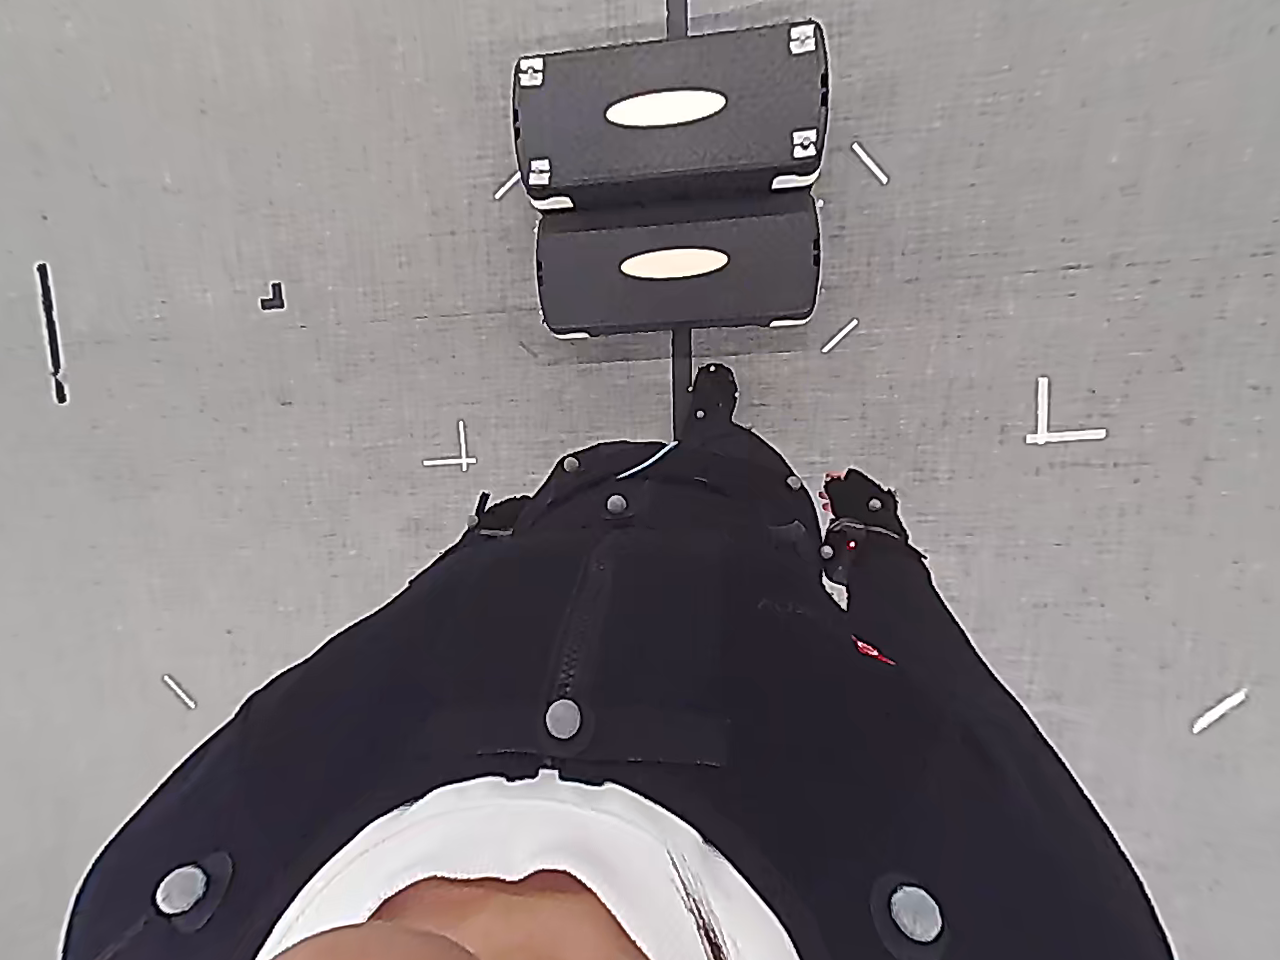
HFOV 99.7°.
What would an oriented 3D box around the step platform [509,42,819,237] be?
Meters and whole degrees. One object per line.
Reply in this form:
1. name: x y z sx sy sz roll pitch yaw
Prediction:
1. step platform: 0.050 -0.759 1.234 0.684 0.204 0.286 -3 98 7
